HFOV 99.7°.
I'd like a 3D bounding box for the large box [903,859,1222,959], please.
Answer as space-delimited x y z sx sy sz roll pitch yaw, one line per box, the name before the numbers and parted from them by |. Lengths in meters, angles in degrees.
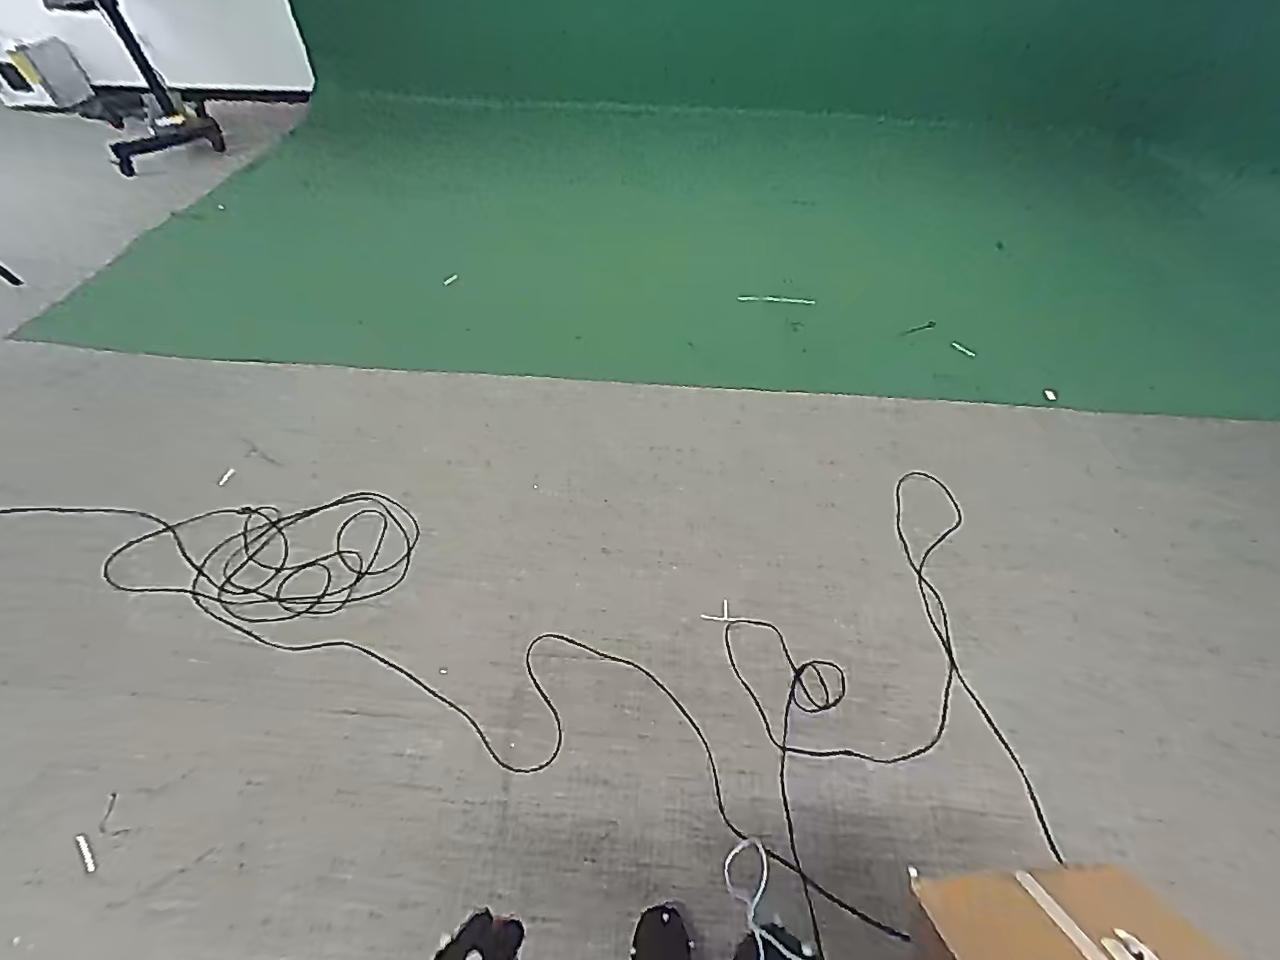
large box | 0.550 0.731 0.604 0.320 0.408 0.320 -4 95 -1
